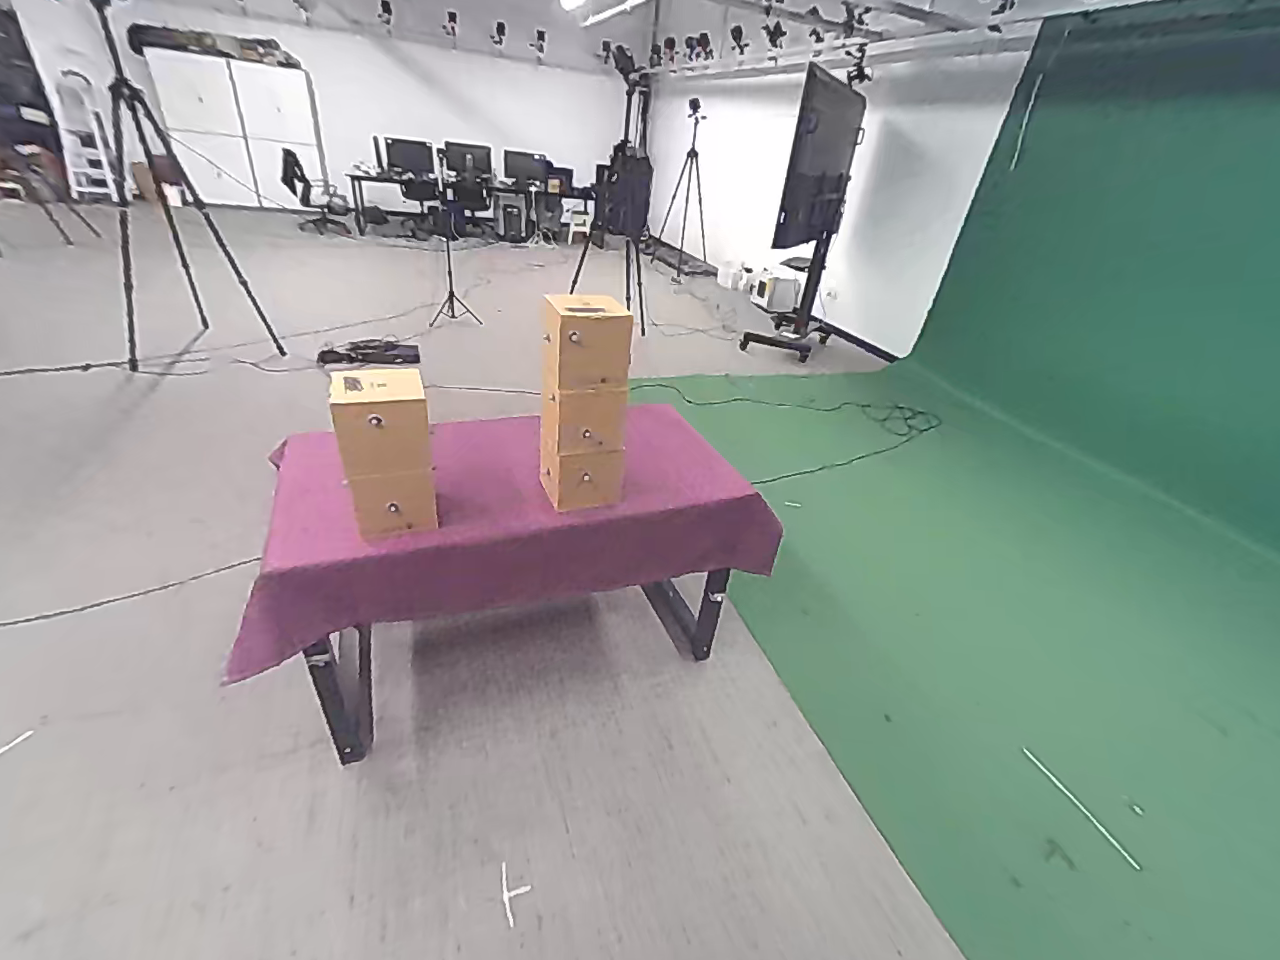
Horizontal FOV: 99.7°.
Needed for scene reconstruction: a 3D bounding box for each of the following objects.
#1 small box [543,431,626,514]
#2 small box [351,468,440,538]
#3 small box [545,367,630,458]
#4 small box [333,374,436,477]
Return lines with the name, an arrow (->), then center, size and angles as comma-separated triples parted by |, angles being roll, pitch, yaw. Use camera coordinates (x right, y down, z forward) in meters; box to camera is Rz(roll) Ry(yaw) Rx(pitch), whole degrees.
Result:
small box -> -0.148, -0.028, 1.416 | 0.179, 0.176, 0.168 | -9, 35, -23
small box -> -0.562, 0.021, 1.254 | 0.168, 0.176, 0.179 | -7, 34, -22
small box -> -0.137, -0.170, 1.335 | 0.168, 0.176, 0.179 | -7, 35, -22
small box -> -0.546, -0.118, 1.167 | 0.179, 0.176, 0.168 | -7, 34, -23
